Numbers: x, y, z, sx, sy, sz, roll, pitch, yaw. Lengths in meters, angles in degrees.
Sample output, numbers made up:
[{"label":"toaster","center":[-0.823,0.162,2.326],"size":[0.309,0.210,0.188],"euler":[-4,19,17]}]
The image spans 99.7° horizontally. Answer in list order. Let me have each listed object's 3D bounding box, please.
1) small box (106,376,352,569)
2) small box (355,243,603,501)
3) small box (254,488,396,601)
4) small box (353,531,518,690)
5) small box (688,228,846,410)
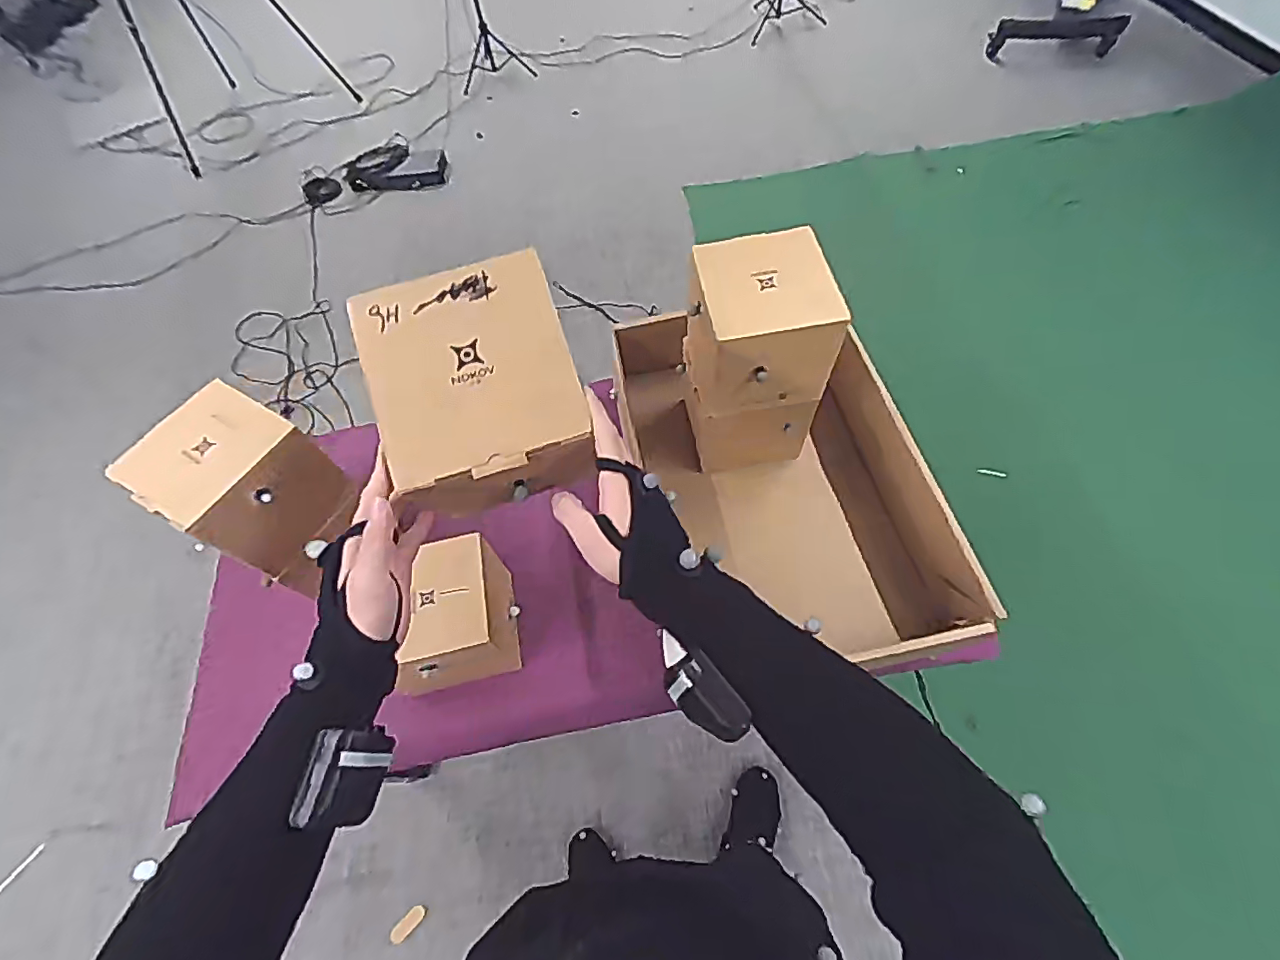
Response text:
[{"label":"small box","center":[-0.548,-0.004,0.750],"size":[0.168,0.176,0.179],"euler":[27,66,16]},{"label":"small box","center":[-0.134,-0.085,0.517],"size":[0.168,0.176,0.179],"euler":[-17,82,-6]},{"label":"small box","center":[-0.544,0.080,0.889],"size":[0.179,0.176,0.168],"euler":[27,65,17]},{"label":"small box","center":[-0.294,0.200,0.804],"size":[0.179,0.176,0.168],"euler":[-13,60,-4]},{"label":"small box","center":[0.164,-0.213,0.757],"size":[0.168,0.176,0.179],"euler":[-9,61,-1]}]
